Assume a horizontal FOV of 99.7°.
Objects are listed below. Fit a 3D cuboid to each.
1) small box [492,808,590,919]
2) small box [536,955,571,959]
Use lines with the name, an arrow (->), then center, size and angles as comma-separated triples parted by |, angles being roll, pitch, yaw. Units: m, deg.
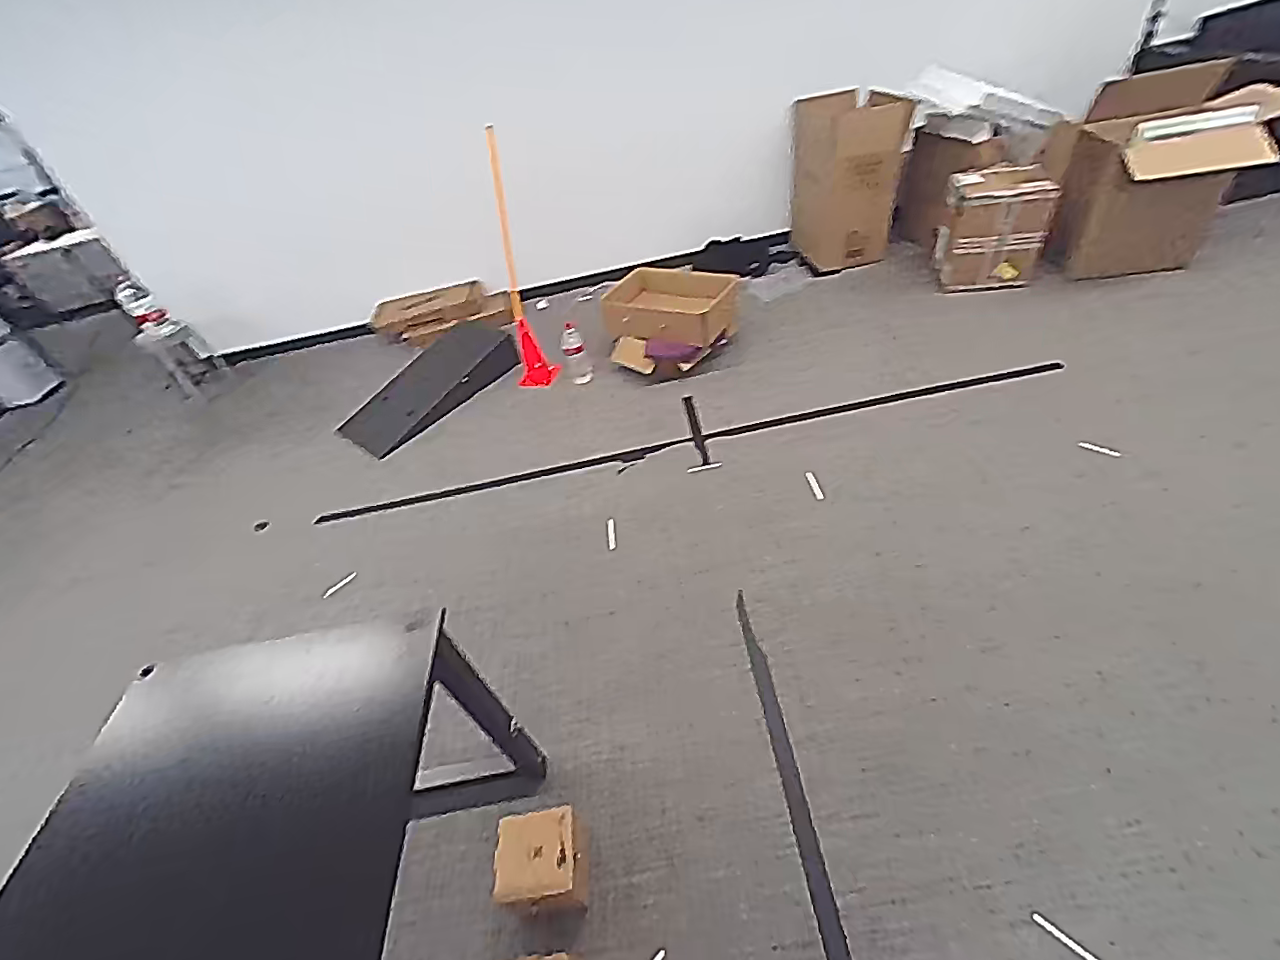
small box -> -0.224, 0.890, 1.251 | 0.179, 0.176, 0.168 | -12, 43, 2
small box -> -0.201, 1.066, 1.057 | 0.168, 0.176, 0.179 | -12, 42, 3
